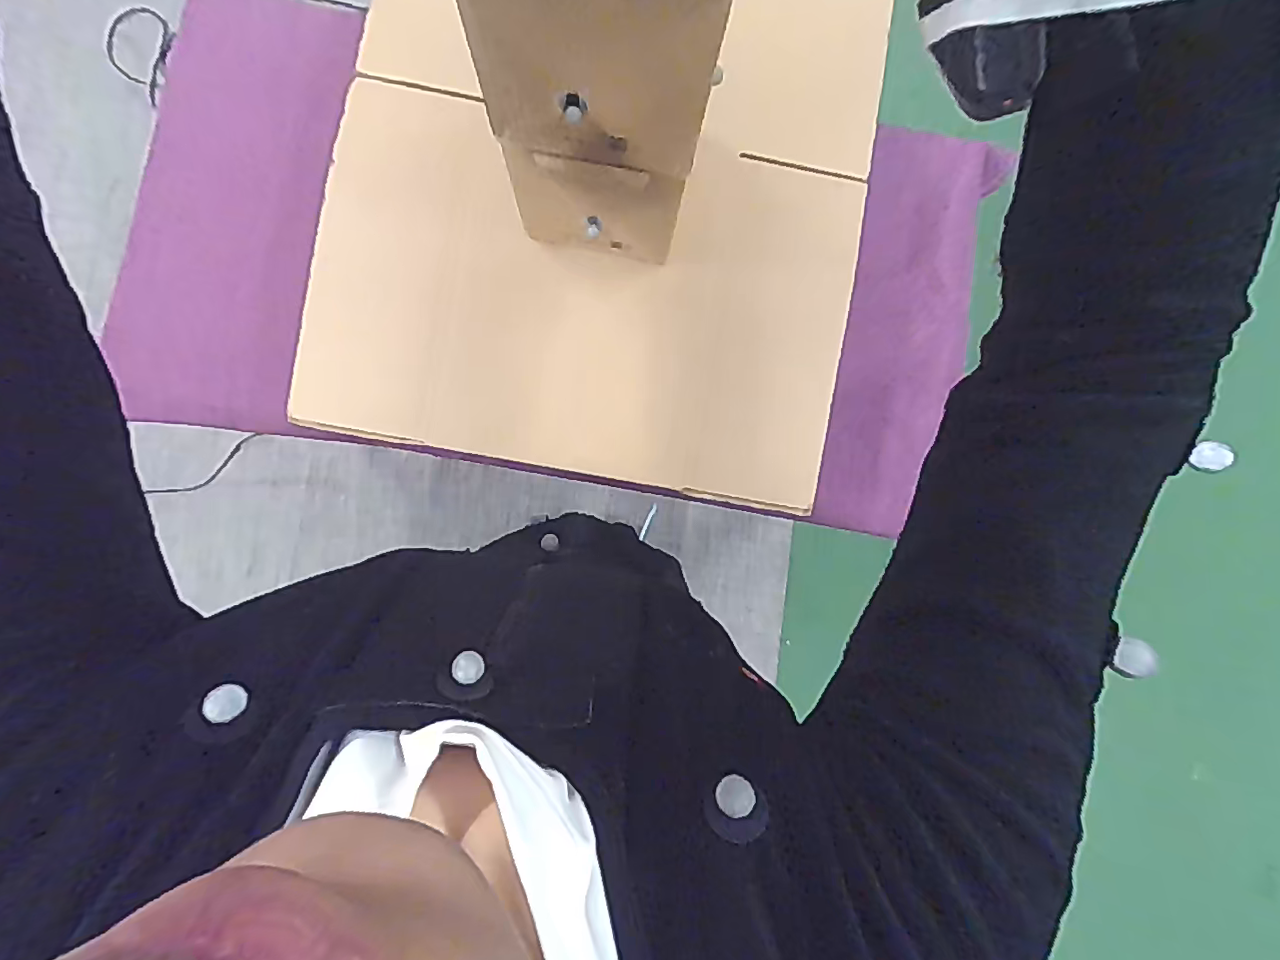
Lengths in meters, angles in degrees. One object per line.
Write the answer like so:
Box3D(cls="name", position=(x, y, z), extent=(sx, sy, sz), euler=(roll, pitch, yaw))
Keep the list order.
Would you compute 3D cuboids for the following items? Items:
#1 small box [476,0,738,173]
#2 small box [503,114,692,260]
Box3D(cls="small box", position=(-0.018, -0.361, 0.380), extent=(0.168, 0.176, 0.179), euler=(9, 86, -3))
Box3D(cls="small box", position=(-0.026, -0.355, 0.543), extent=(0.168, 0.176, 0.179), euler=(11, 85, -2))
